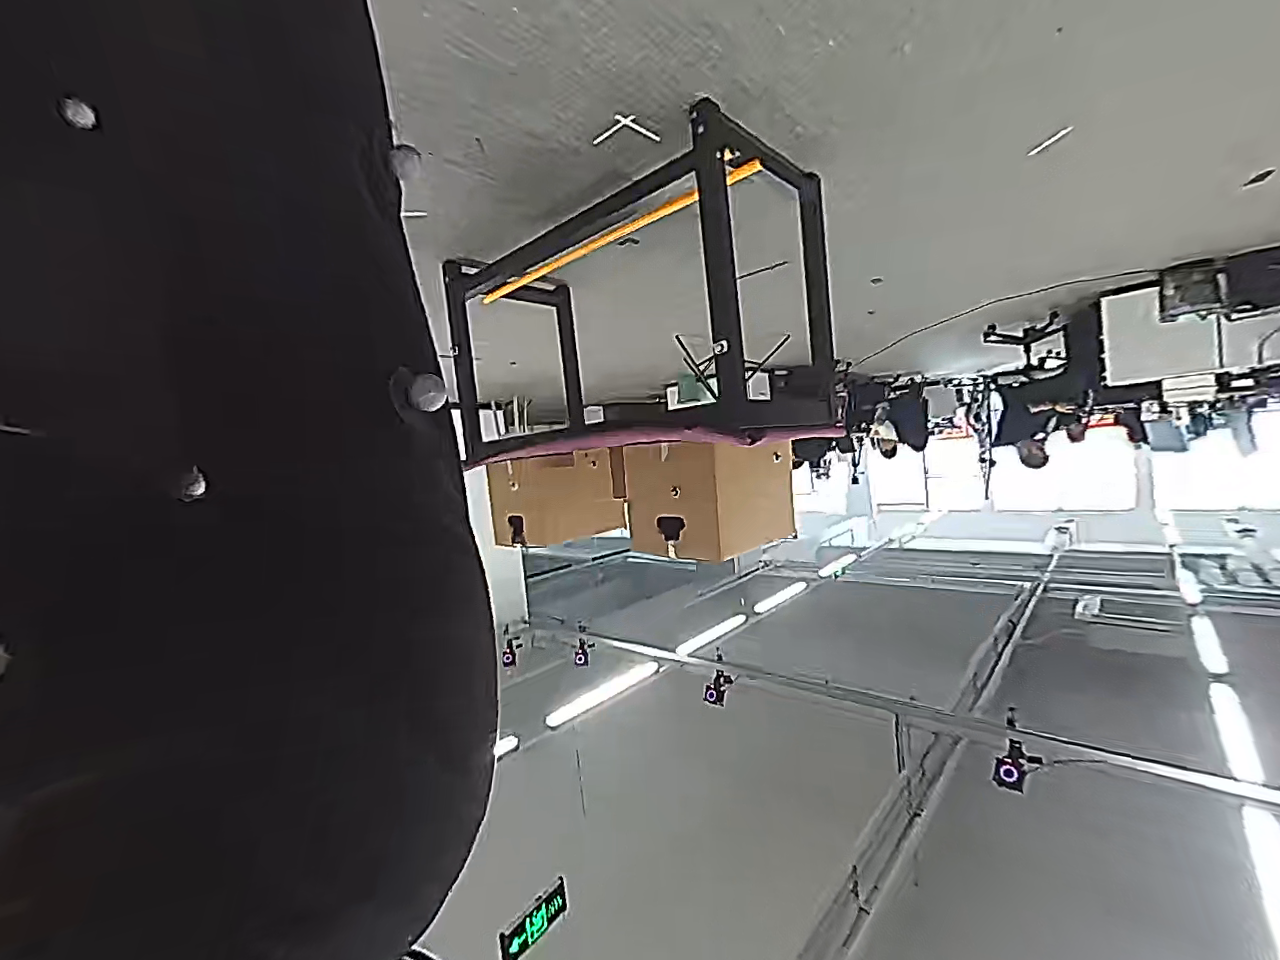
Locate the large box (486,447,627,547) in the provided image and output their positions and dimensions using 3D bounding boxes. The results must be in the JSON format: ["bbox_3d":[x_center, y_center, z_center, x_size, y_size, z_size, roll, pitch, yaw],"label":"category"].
[{"bbox_3d":[-0.310,0.056,2.027,0.320,0.320,0.408,-3,-175,42],"label":"large box"}]
